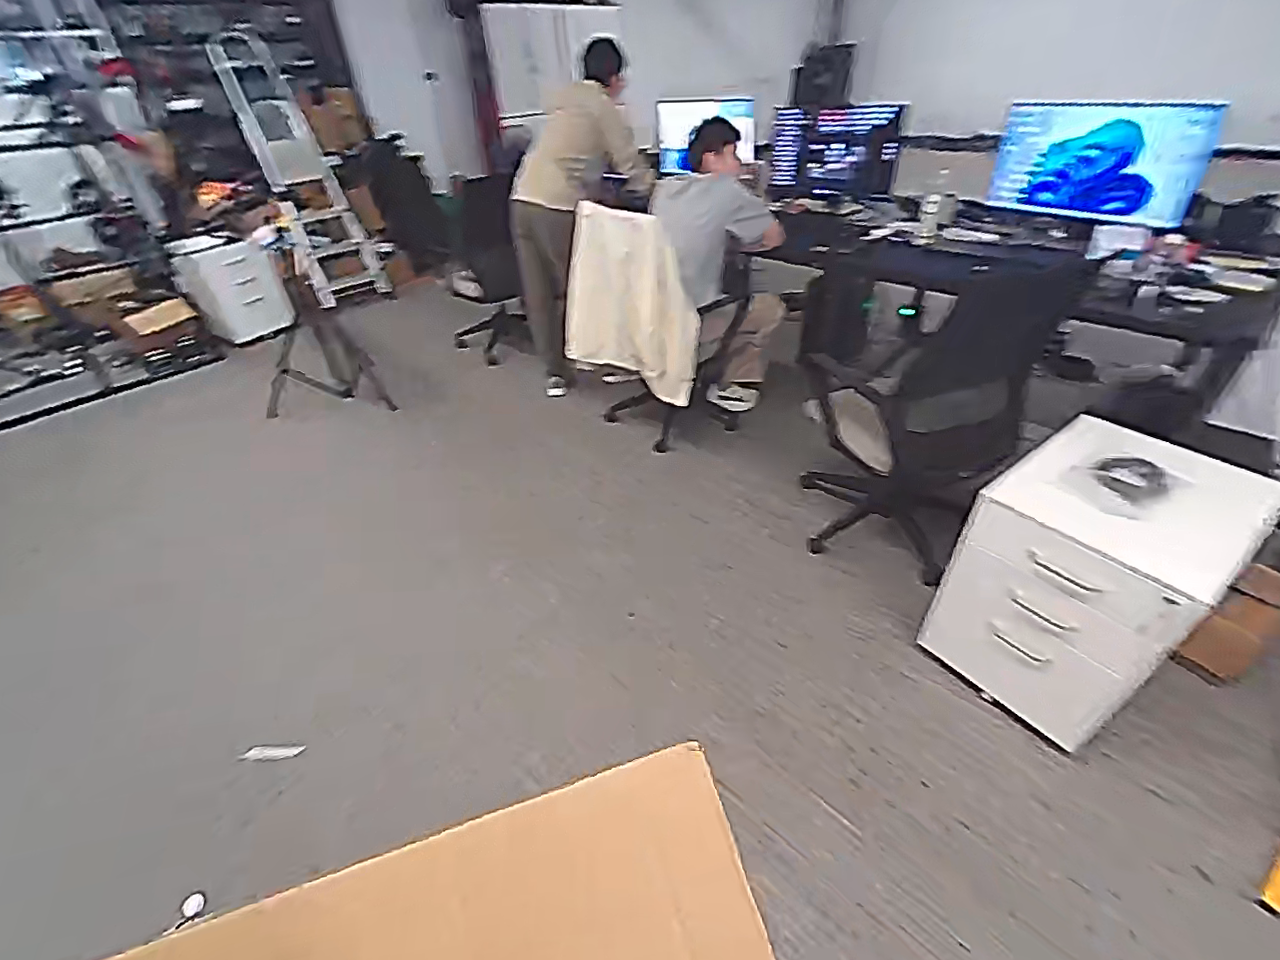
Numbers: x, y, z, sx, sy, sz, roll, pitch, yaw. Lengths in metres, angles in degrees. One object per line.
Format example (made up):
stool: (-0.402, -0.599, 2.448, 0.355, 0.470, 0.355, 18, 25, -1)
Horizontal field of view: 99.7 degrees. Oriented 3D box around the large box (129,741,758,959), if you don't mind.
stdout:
large box: (-0.121, 0.433, 0.396, 0.408, 0.320, 0.320, -15, 65, -14)
